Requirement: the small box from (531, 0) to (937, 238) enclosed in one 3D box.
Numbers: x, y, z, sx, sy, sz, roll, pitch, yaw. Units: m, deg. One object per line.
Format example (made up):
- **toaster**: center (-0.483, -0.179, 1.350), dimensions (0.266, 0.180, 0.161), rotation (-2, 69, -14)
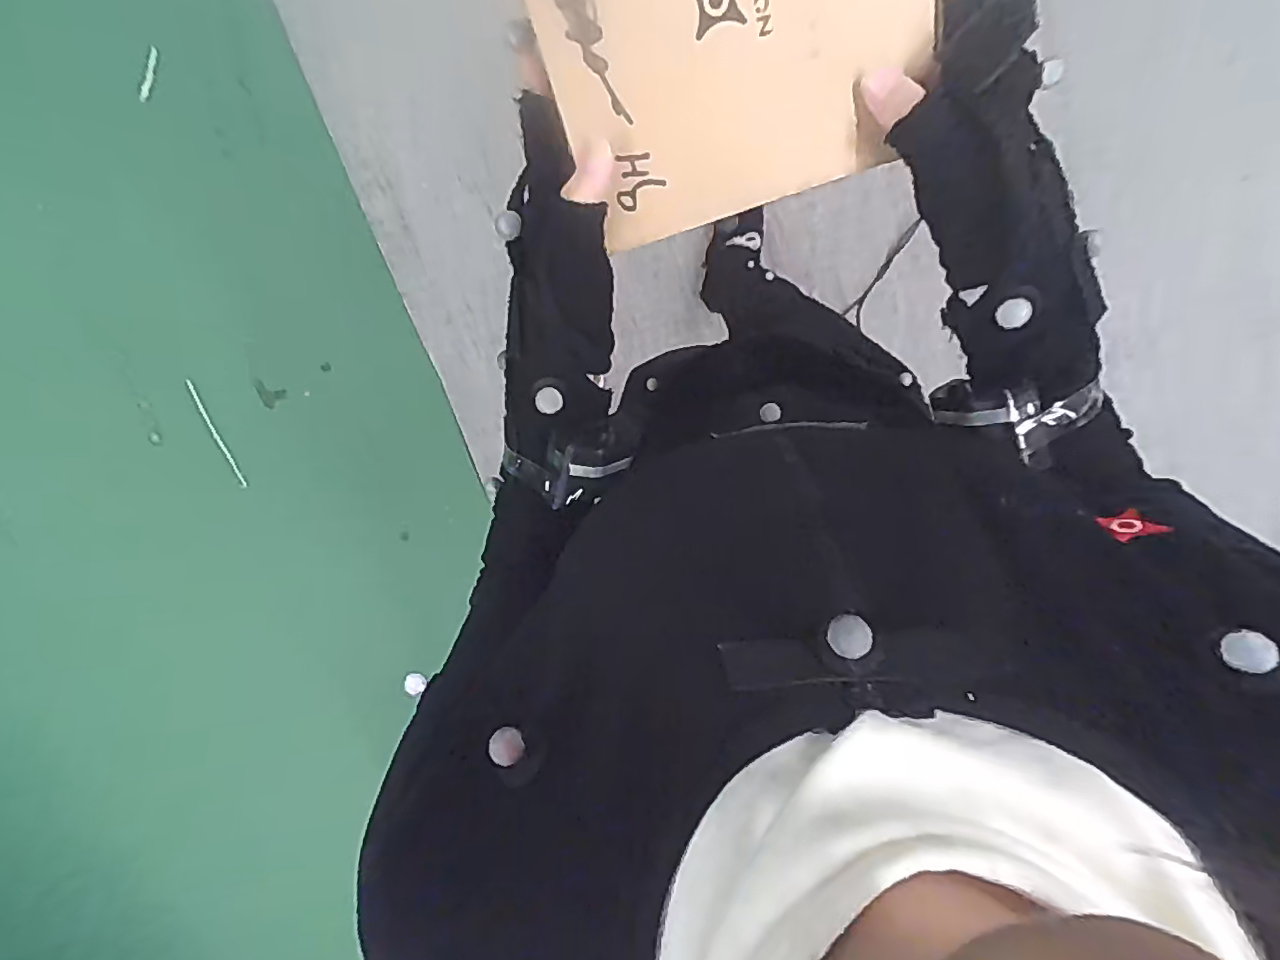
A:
- **small box**: center (0.036, -0.250, 0.305), dimensions (0.179, 0.176, 0.168), rotation (-16, 115, 4)
